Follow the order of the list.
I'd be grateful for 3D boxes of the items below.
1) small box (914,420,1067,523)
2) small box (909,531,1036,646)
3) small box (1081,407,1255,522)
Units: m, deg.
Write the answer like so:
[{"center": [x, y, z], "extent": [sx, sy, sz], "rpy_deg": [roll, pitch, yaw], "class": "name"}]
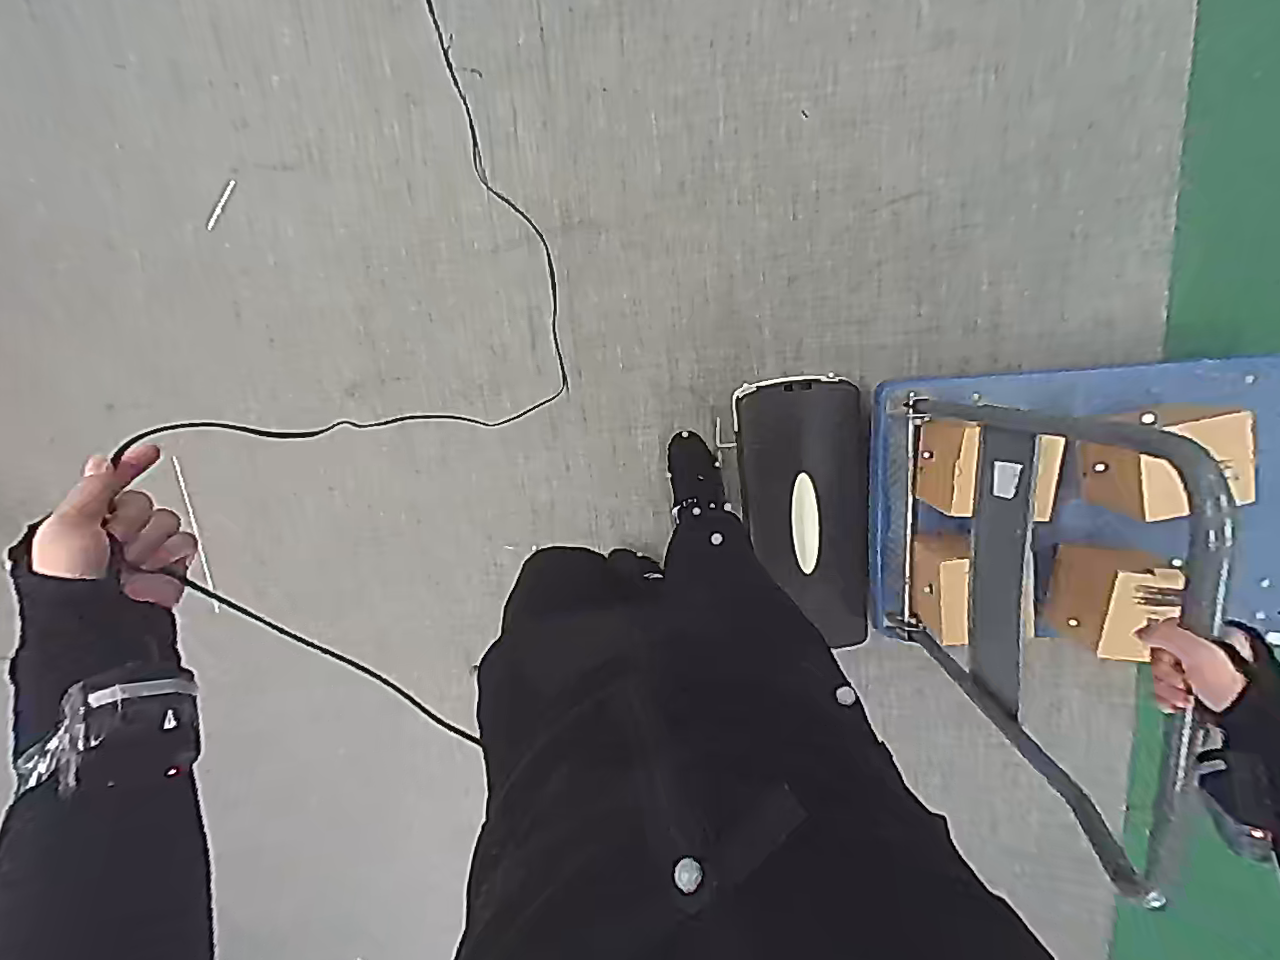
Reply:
[{"center": [0.659, -0.024, 1.037], "extent": [0.179, 0.176, 0.168], "rpy_deg": [3, 102, 5], "class": "small box"}, {"center": [0.653, 0.208, 1.082], "extent": [0.168, 0.176, 0.179], "rpy_deg": [-6, 102, 7], "class": "small box"}, {"center": [0.962, -0.034, 1.004], "extent": [0.179, 0.176, 0.168], "rpy_deg": [-12, 100, 8], "class": "small box"}]
